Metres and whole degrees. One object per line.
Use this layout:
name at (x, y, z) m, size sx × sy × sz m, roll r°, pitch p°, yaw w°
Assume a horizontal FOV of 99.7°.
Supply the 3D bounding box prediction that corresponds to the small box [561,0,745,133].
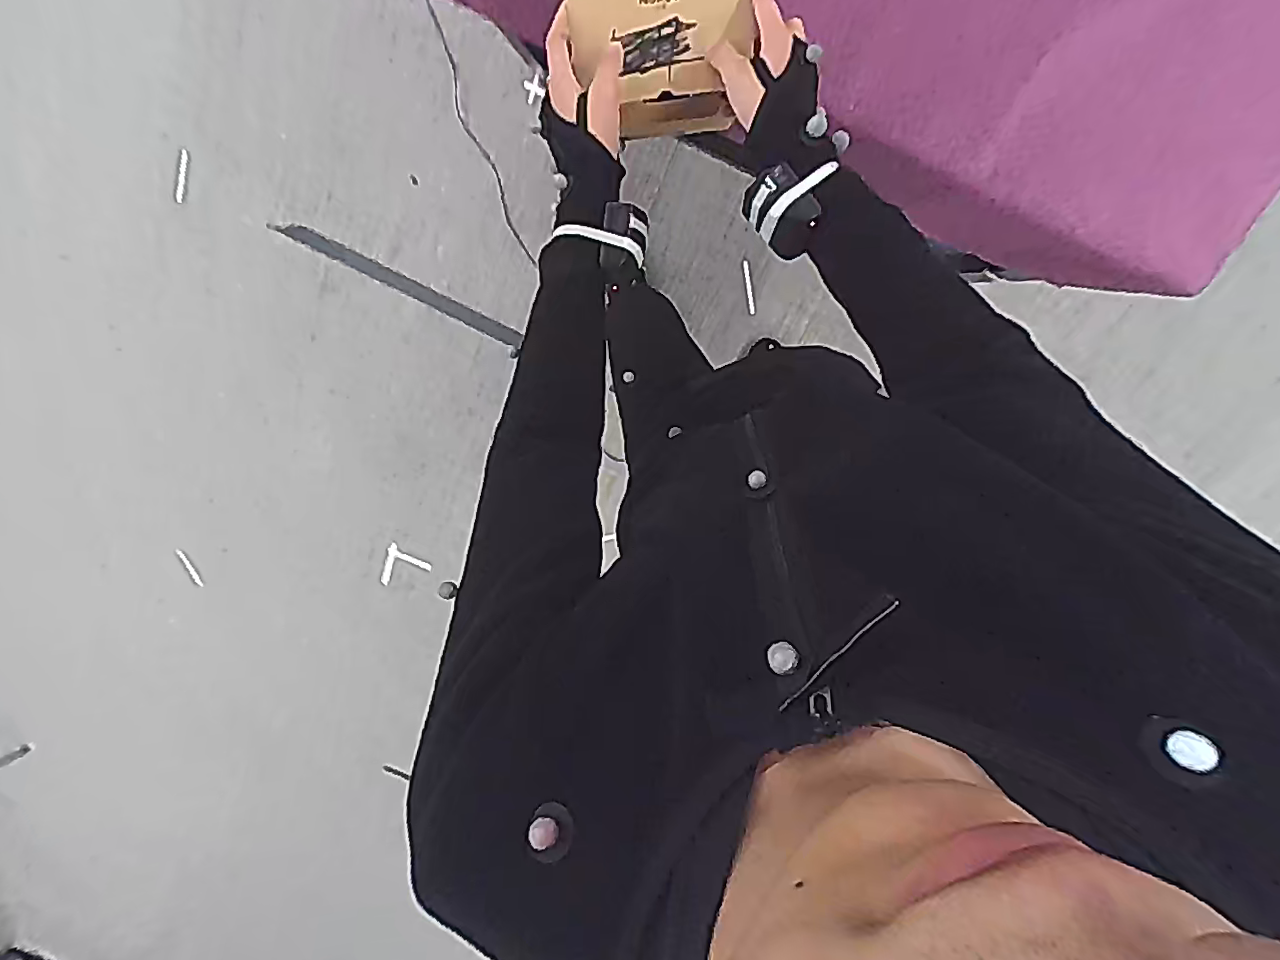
small box at (0.011, -0.469, 0.547) m, size 0.168 × 0.176 × 0.179 m, roll -5°, pitch 112°, yaw 2°
